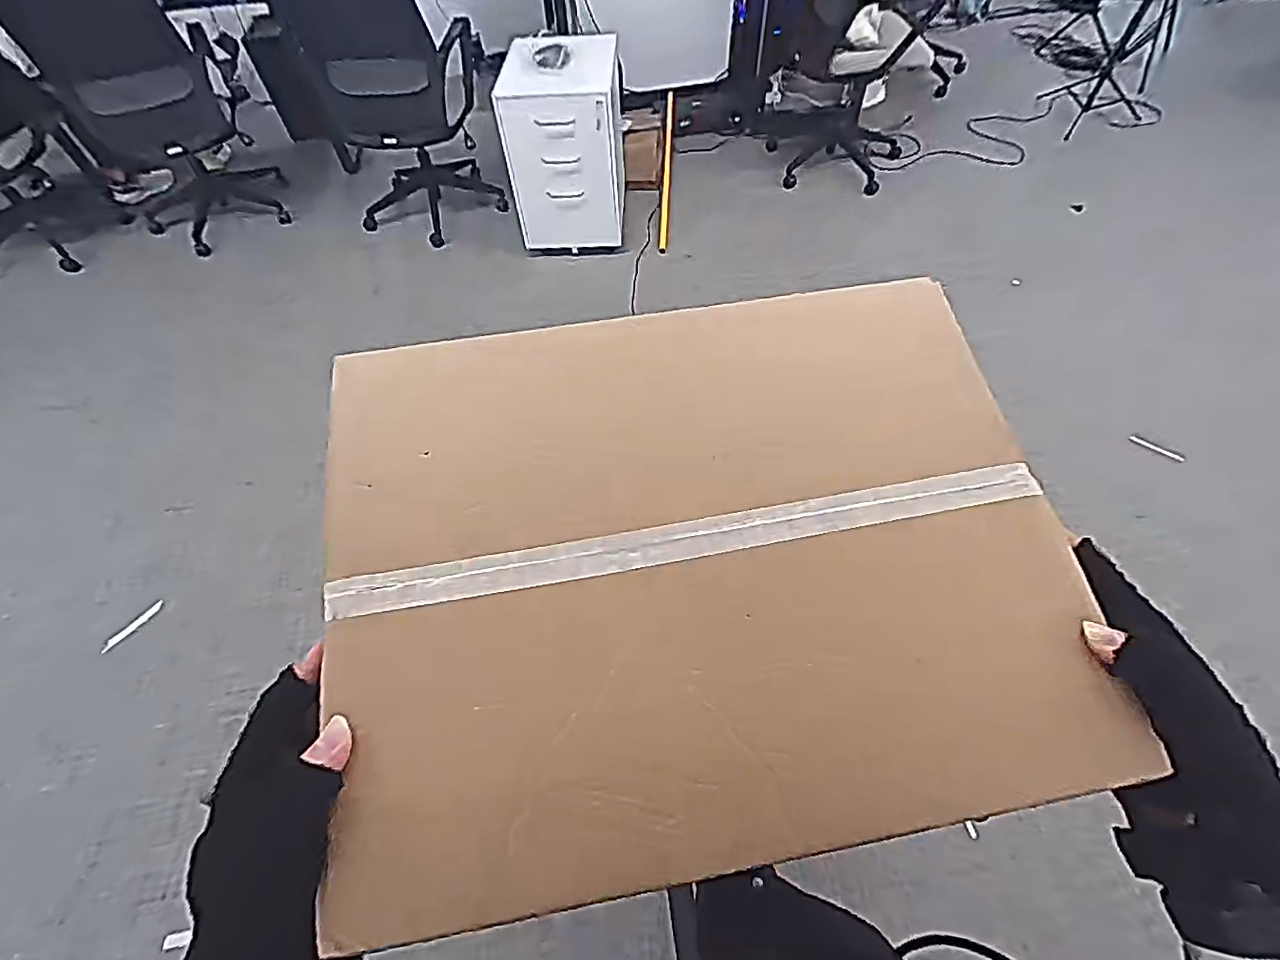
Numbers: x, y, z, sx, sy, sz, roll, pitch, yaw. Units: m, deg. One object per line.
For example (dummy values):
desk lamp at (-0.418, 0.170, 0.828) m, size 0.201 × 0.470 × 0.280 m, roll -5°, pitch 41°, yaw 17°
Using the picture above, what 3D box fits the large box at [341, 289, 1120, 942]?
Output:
large box at (0.030, 0.091, 0.455) m, size 0.408 × 0.320 × 0.320 m, roll -10°, pitch 68°, yaw -4°
